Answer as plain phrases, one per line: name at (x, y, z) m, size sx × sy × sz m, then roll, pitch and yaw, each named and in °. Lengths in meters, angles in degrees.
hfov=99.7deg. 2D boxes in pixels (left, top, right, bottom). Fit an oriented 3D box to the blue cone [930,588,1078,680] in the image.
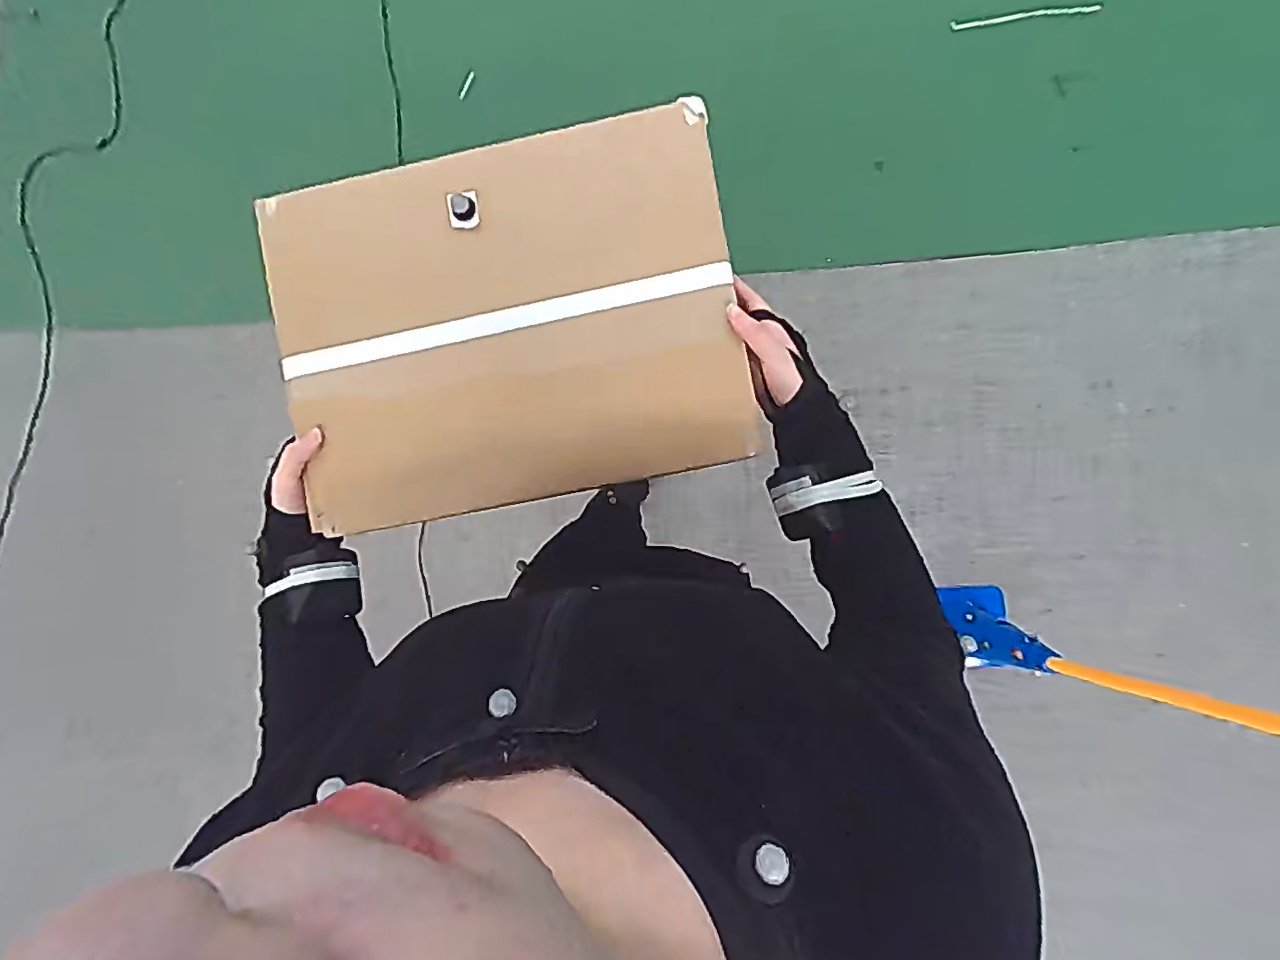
blue cone at (0.812, 0.358, 1.187) m, size 0.193 × 0.380 × 0.192 m, roll -5°, pitch 85°, yaw 5°
